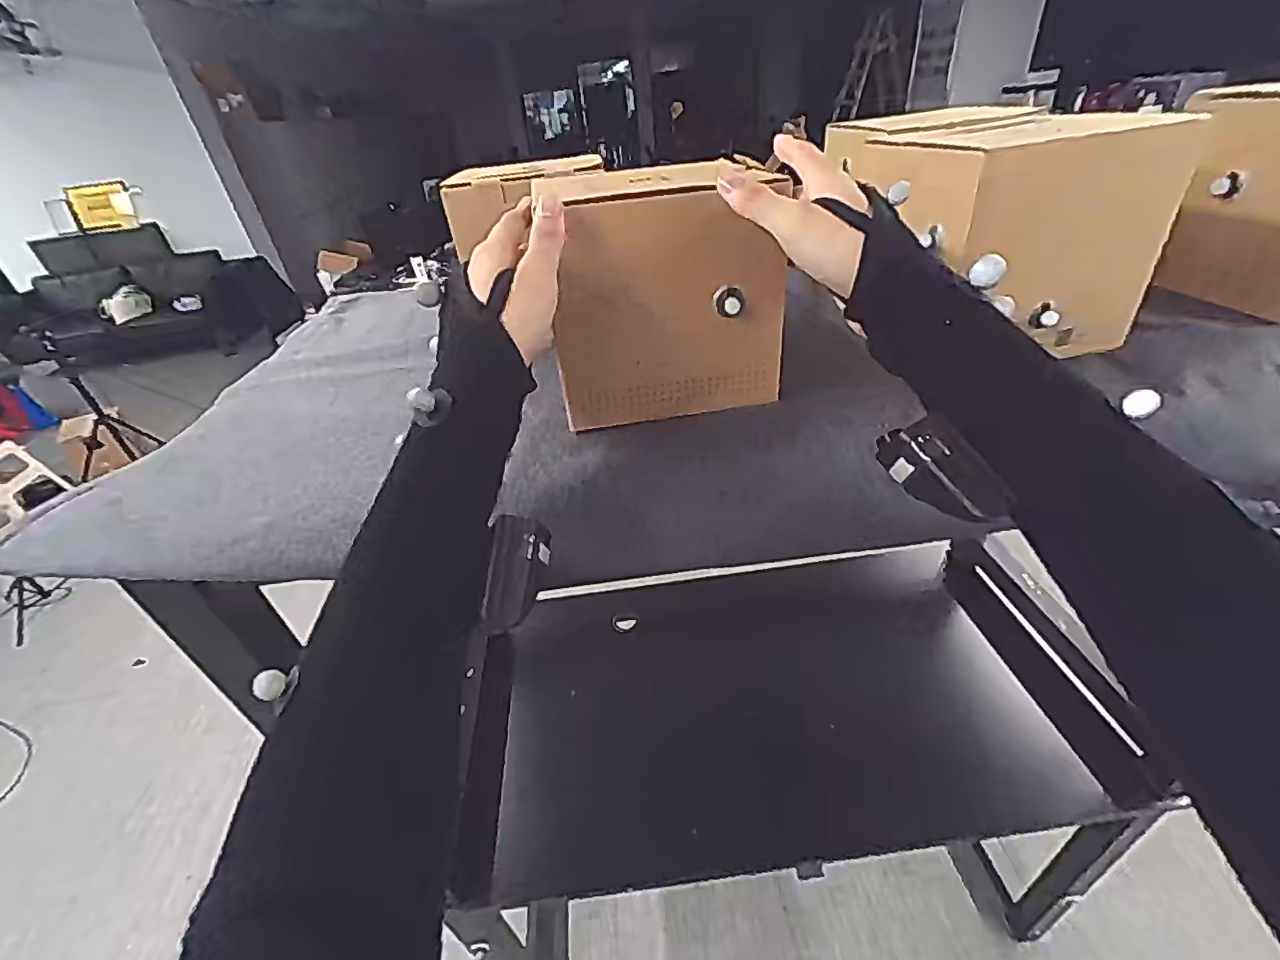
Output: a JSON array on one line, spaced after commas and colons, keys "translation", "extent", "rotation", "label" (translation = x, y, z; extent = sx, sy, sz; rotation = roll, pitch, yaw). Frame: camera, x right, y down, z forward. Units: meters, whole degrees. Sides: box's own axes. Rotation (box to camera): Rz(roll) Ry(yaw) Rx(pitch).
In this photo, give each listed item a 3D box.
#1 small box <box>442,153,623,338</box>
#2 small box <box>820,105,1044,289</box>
[{"translation": [-0.114, -0.276, 0.645], "extent": [0.168, 0.176, 0.179], "rotation": [-8, 34, -1], "label": "small box"}, {"translation": [0.329, -0.342, 0.656], "extent": [0.168, 0.176, 0.179], "rotation": [-8, 34, 0], "label": "small box"}]
